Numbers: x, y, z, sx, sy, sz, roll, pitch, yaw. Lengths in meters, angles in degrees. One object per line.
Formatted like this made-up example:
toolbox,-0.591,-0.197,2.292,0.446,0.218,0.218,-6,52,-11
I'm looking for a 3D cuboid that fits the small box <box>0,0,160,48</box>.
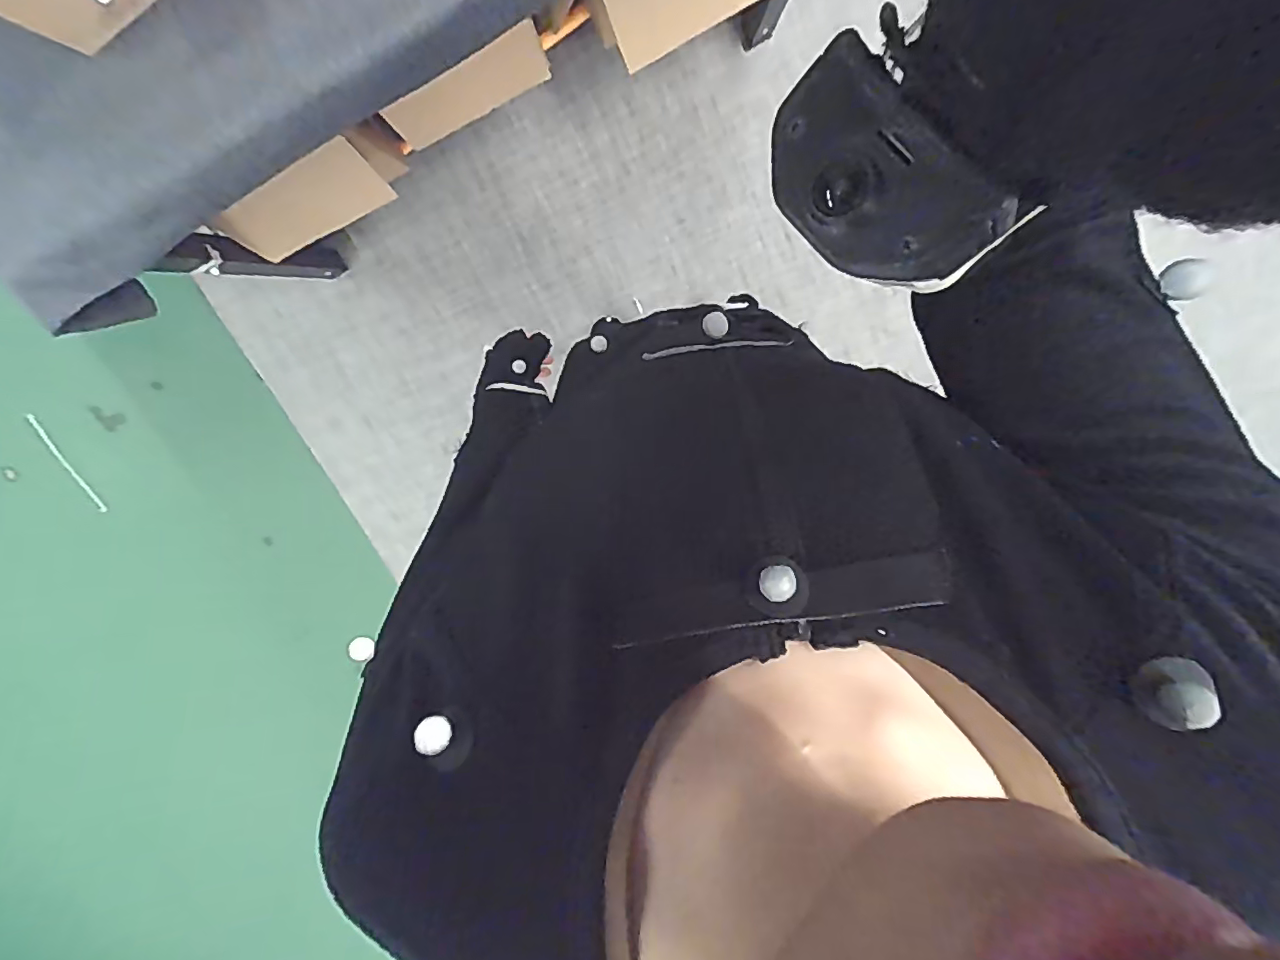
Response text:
small box,-0.578,-0.552,0.485,0.168,0.176,0.179,-28,106,10
